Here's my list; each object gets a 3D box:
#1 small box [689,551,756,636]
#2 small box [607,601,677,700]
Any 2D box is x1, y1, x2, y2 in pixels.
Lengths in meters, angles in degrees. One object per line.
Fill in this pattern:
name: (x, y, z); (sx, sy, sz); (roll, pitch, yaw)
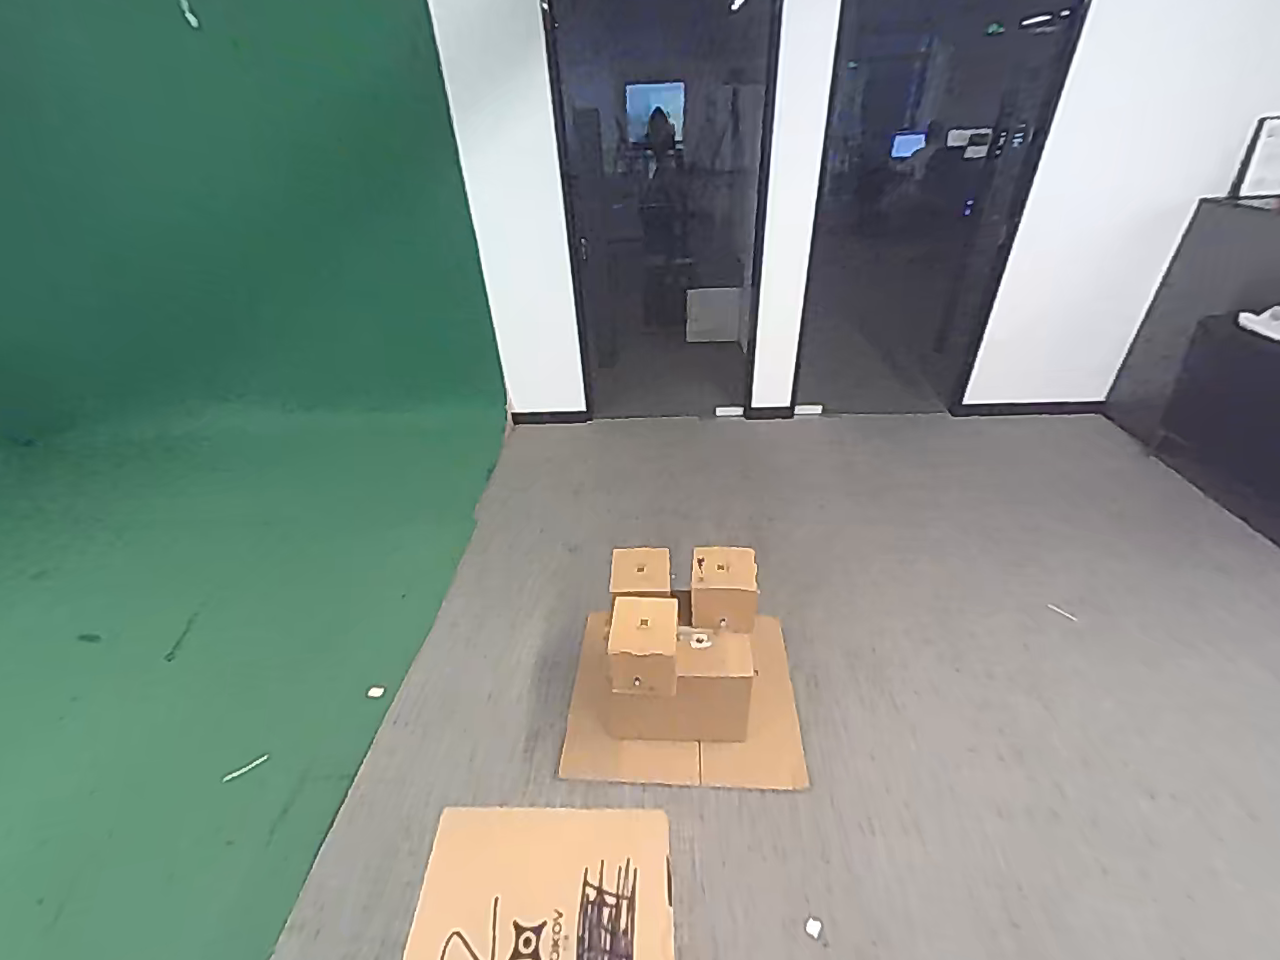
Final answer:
small box: (0.232, 0.323, 1.536); (0.179, 0.176, 0.168); (2, 34, 8)
small box: (0.009, 0.437, 1.391); (0.168, 0.176, 0.179); (1, 36, 5)
